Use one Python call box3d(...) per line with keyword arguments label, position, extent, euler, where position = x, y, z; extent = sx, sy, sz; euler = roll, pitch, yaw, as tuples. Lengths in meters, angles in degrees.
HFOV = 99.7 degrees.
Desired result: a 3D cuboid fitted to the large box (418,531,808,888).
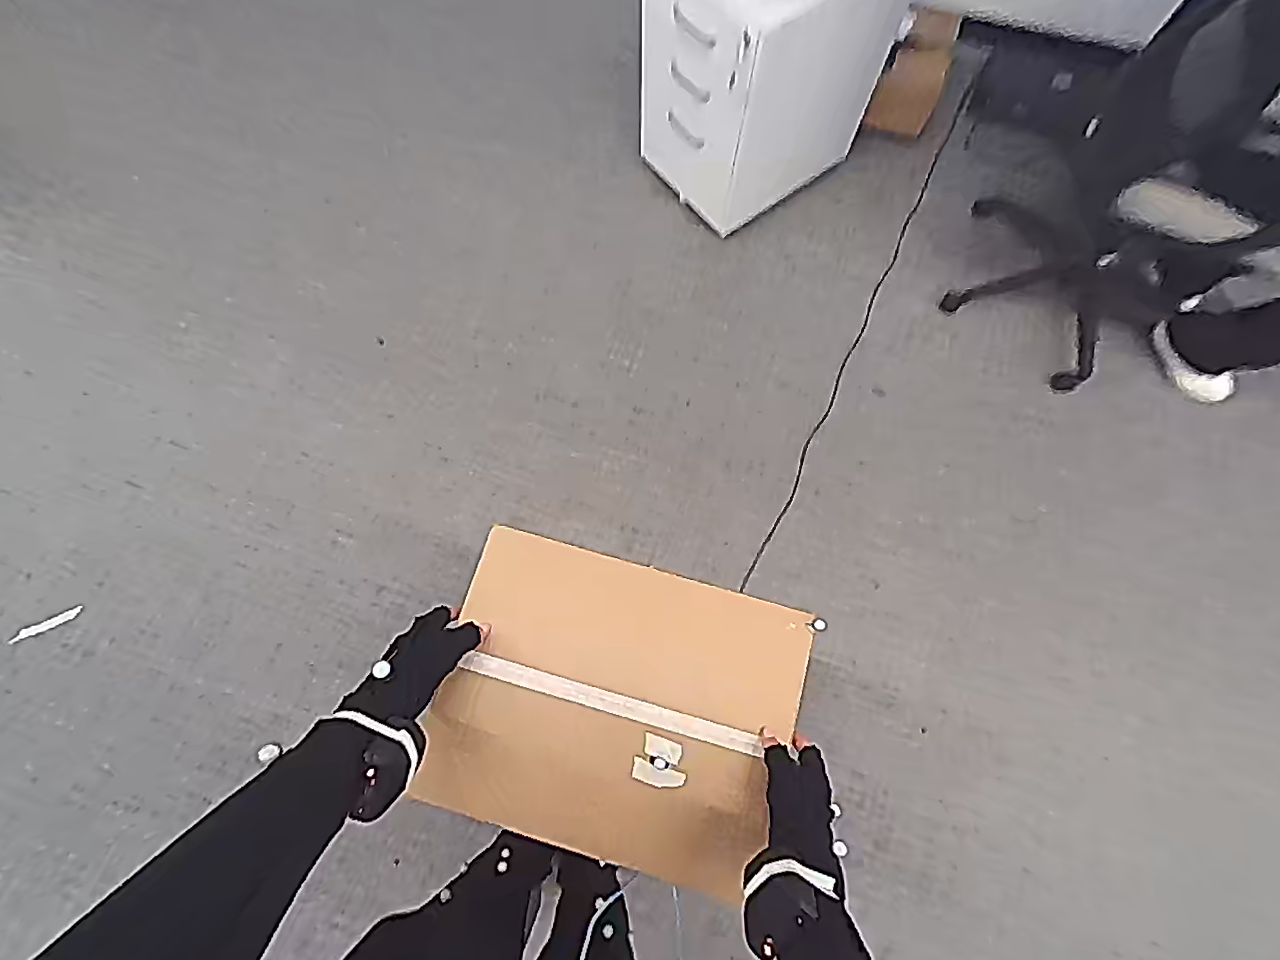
box3d(label="large box", position=(-0.025, 0.291, 0.779), extent=(0.408, 0.320, 0.320), euler=(15, 77, 4))
